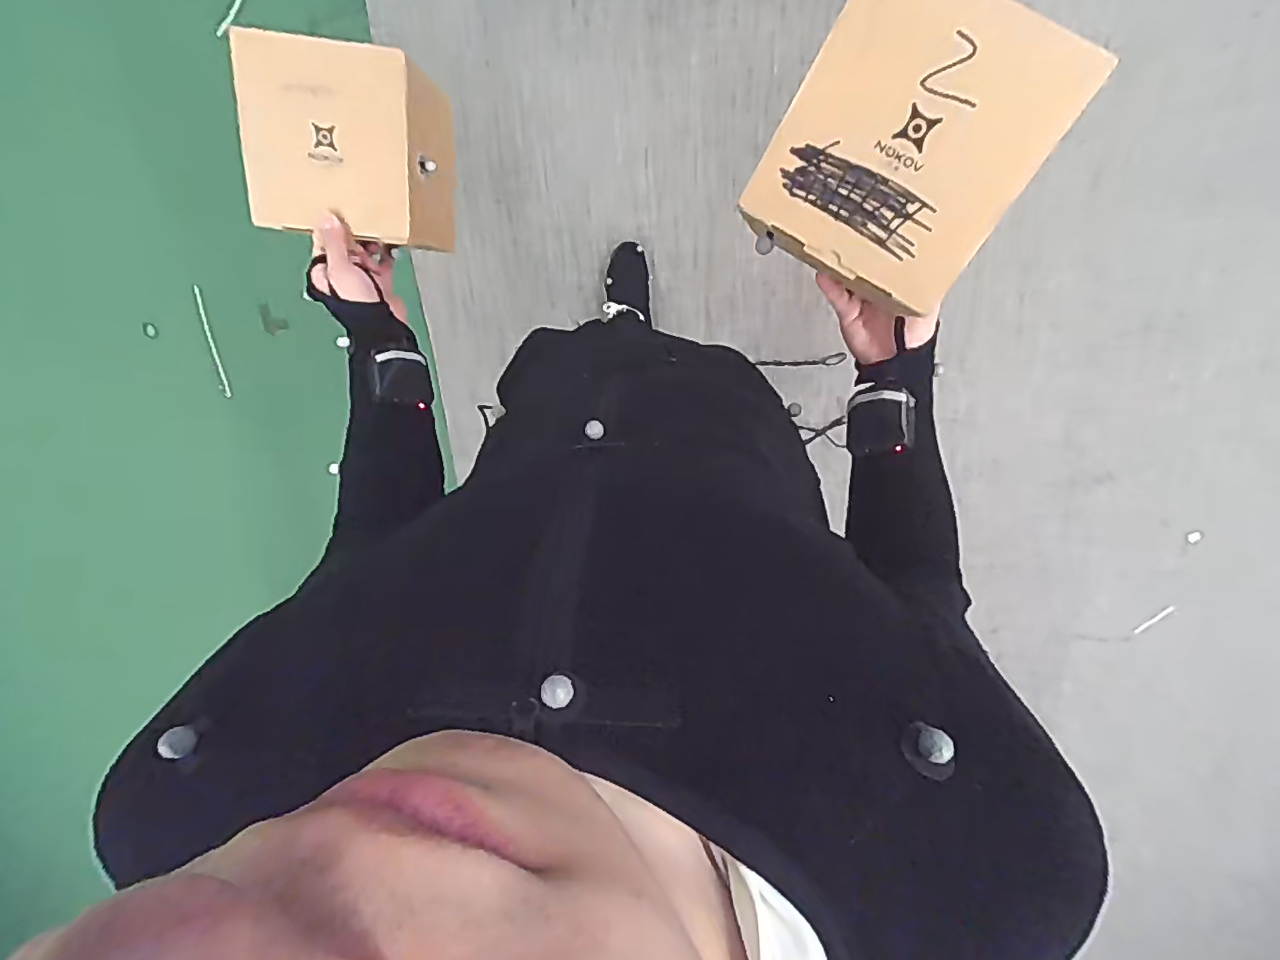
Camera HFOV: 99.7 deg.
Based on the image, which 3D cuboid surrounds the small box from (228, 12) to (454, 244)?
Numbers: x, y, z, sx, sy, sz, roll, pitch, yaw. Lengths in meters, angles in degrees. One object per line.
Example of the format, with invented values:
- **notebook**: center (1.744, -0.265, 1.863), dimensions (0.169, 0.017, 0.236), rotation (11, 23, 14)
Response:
- **small box**: center (-0.318, -0.375, 0.614), dimensions (0.168, 0.176, 0.179), rotation (6, 109, -4)
